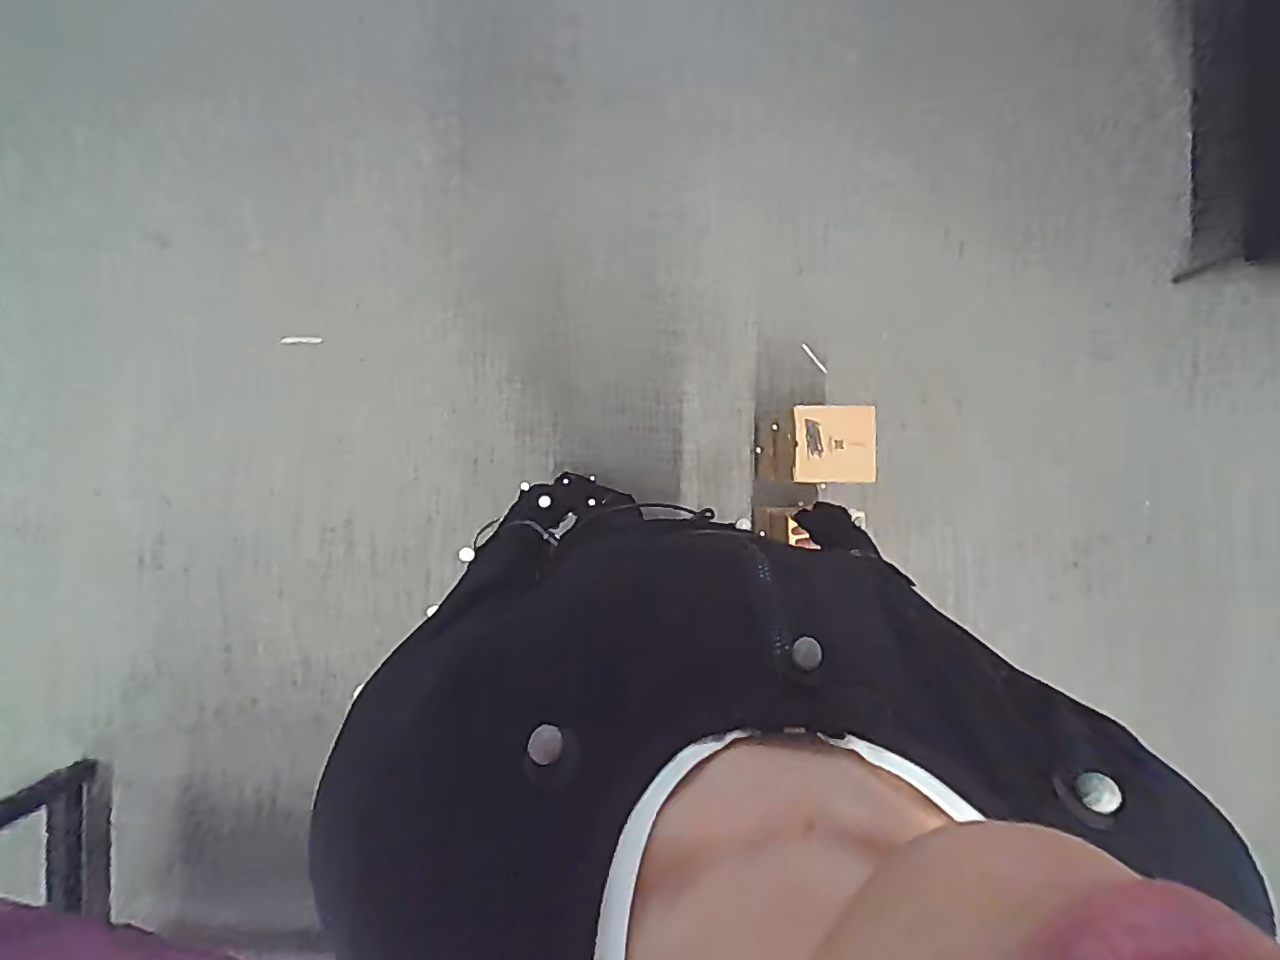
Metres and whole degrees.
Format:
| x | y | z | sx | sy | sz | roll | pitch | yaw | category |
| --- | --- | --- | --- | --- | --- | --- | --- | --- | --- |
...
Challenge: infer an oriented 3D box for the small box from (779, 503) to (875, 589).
| x | y | z | sx | sy | sz | roll | pitch | yaw | category |
| --- | --- | --- | --- | --- | --- | --- | --- | --- | --- |
| 0.416 | 0.142 | 1.227 | 0.168 | 0.176 | 0.179 | -2 | 91 | 1 | small box |

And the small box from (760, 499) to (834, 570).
| x | y | z | sx | sy | sz | roll | pitch | yaw | category |
| --- | --- | --- | --- | --- | --- | --- | --- | --- | --- |
| 0.414 | 0.136 | 1.391 | 0.179 | 0.176 | 0.168 | -1 | 90 | 2 | small box |
